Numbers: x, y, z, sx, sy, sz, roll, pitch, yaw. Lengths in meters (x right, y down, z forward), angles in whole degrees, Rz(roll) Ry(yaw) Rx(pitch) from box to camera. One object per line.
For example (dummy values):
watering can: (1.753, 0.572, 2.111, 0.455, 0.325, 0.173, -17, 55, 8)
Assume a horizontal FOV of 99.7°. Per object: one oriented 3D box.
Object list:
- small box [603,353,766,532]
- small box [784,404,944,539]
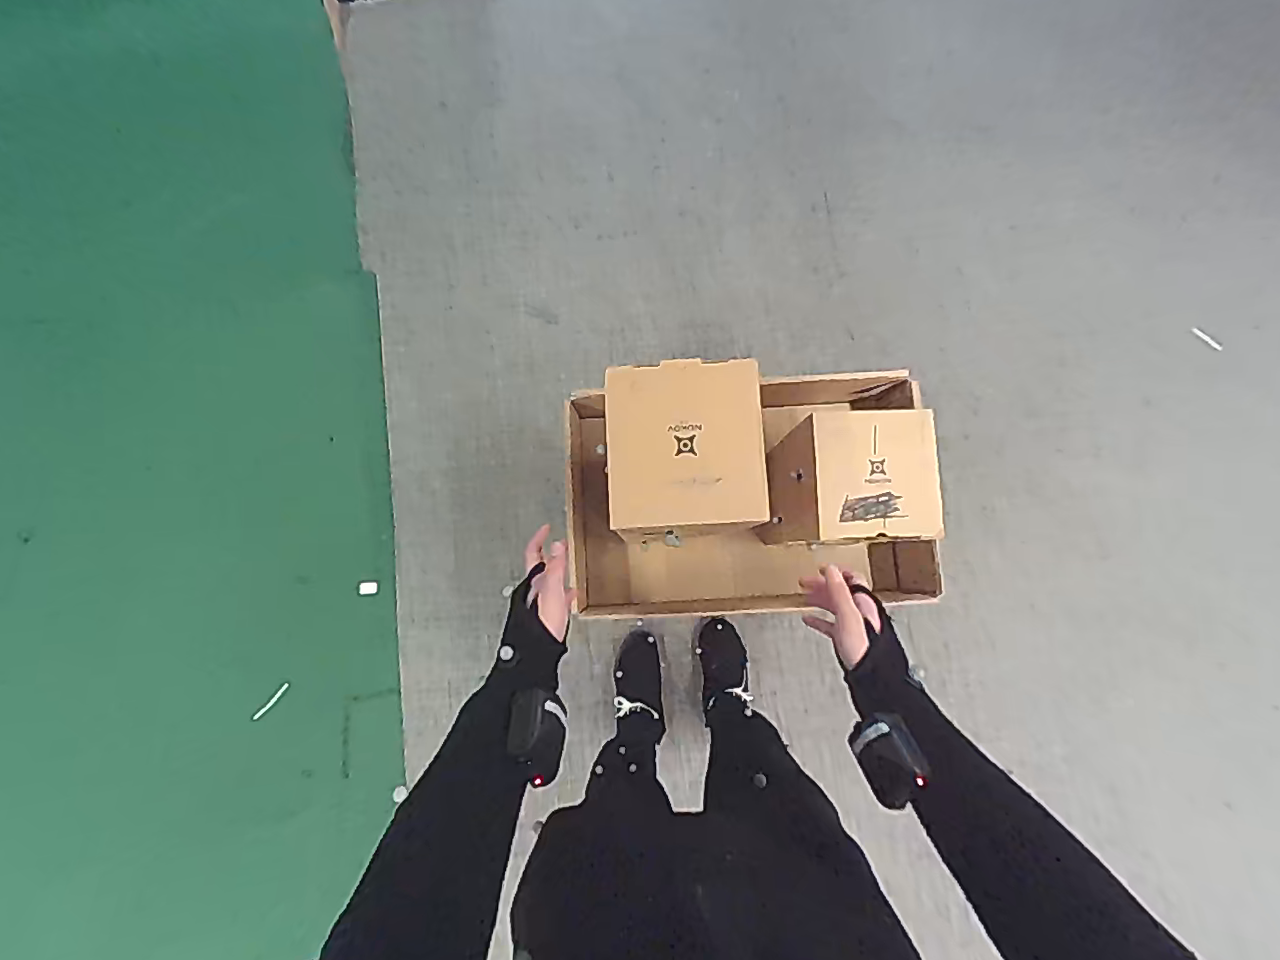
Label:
small box: (0.045, -0.033, 0.634, 0.168, 0.176, 0.179, -3, 82, 2)
small box: (0.313, -0.003, 0.789, 0.168, 0.176, 0.179, -2, 81, 1)
